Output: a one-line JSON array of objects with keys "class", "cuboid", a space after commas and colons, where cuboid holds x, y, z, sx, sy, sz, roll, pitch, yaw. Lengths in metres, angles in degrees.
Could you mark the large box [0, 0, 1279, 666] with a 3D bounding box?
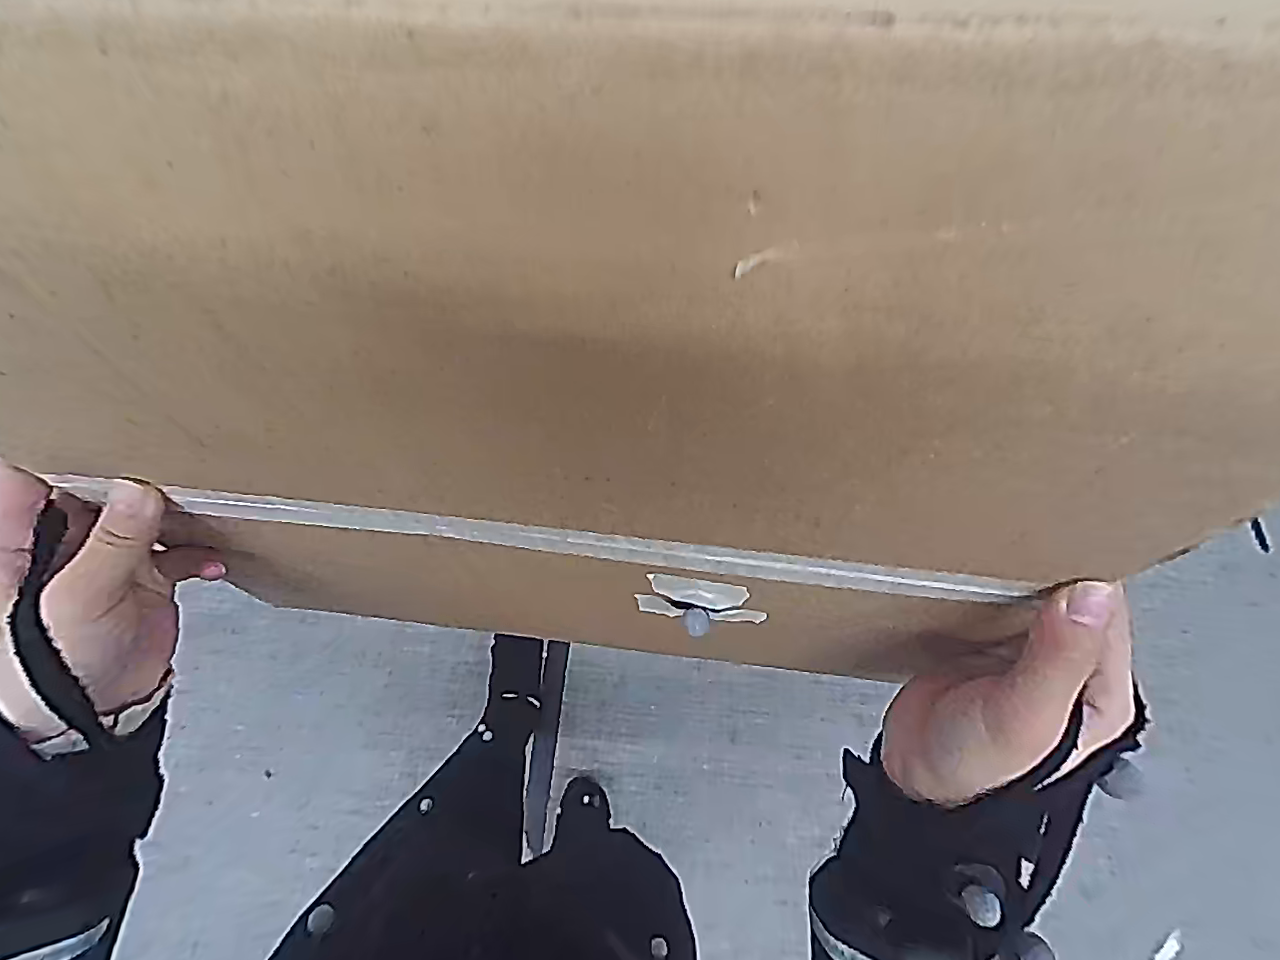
[{"class": "large box", "cuboid": [-0.028, -0.111, 0.296, 0.408, 0.320, 0.320, 5, 58, 5]}]
